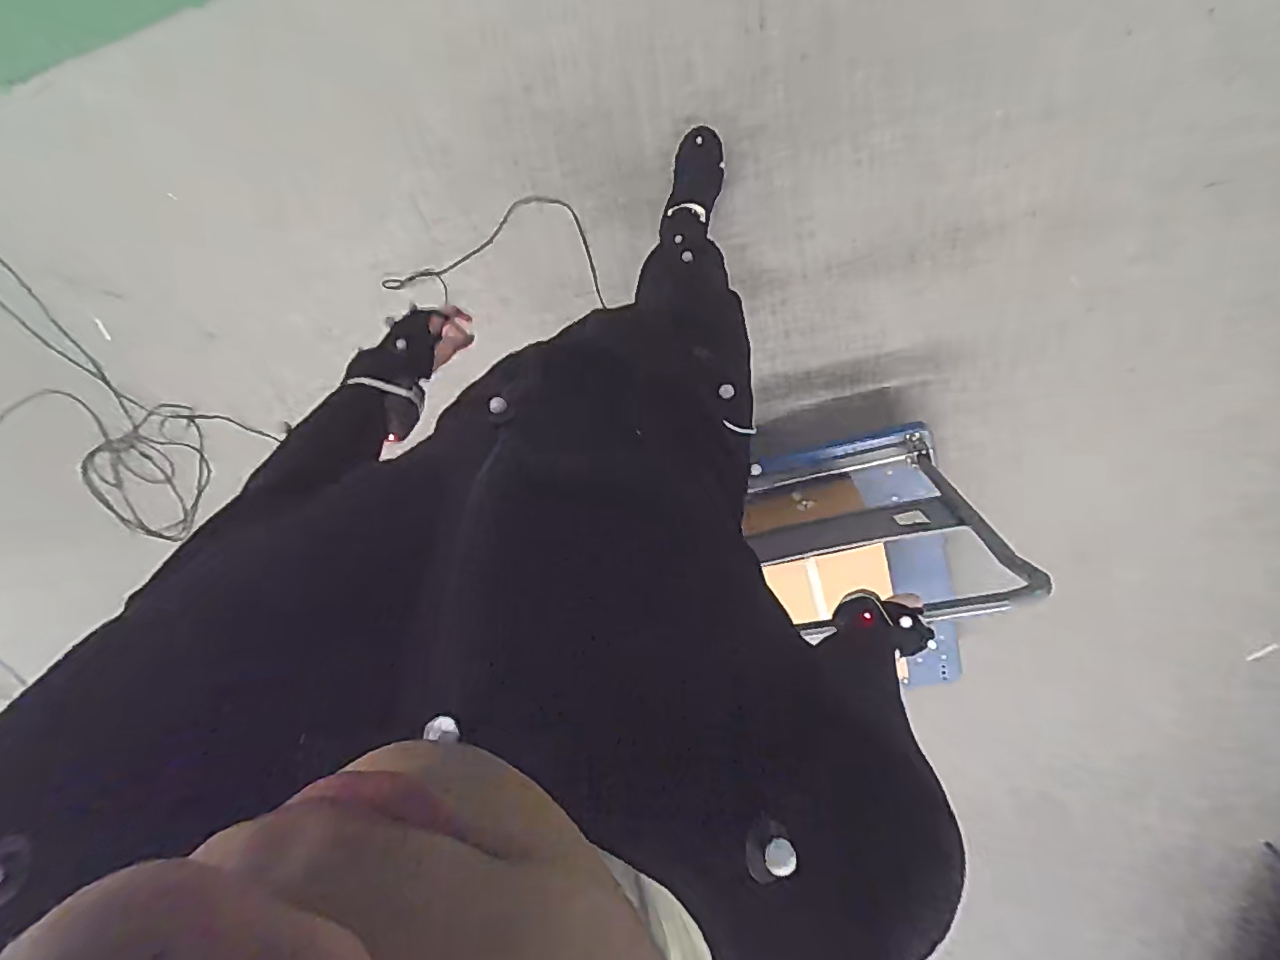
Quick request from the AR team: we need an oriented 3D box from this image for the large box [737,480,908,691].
[{"bbox_3d":[0.457,0.267,1.401,0.320,0.320,0.408,-14,114,15],"label":"large box"}]
